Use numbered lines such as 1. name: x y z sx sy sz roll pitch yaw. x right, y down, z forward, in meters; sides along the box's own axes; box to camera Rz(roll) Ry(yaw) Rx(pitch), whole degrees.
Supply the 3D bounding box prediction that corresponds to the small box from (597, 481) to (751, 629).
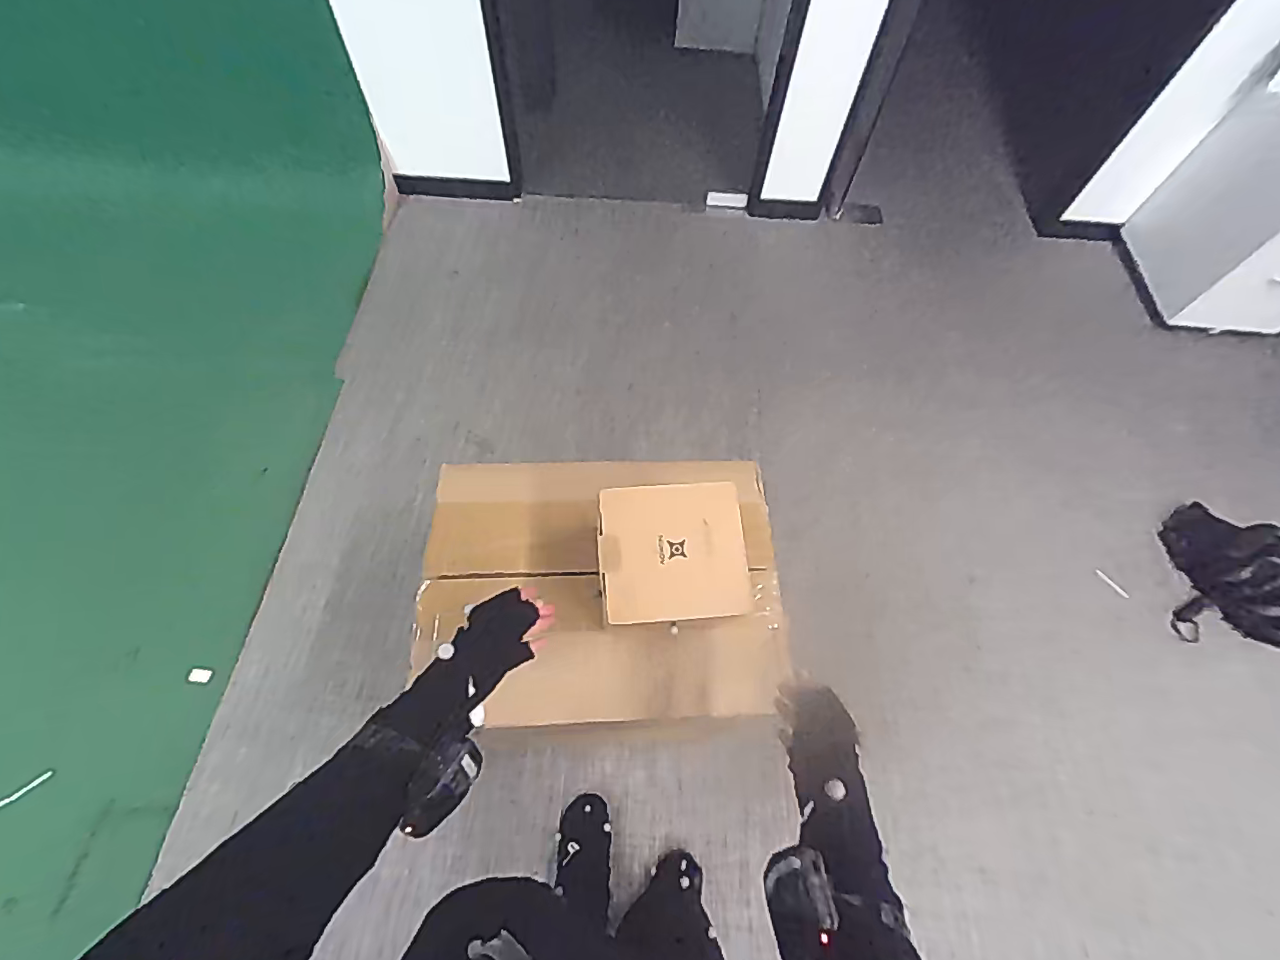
1. small box: 0.034 0.108 0.728 0.179 0.176 0.168 -3 72 -6
